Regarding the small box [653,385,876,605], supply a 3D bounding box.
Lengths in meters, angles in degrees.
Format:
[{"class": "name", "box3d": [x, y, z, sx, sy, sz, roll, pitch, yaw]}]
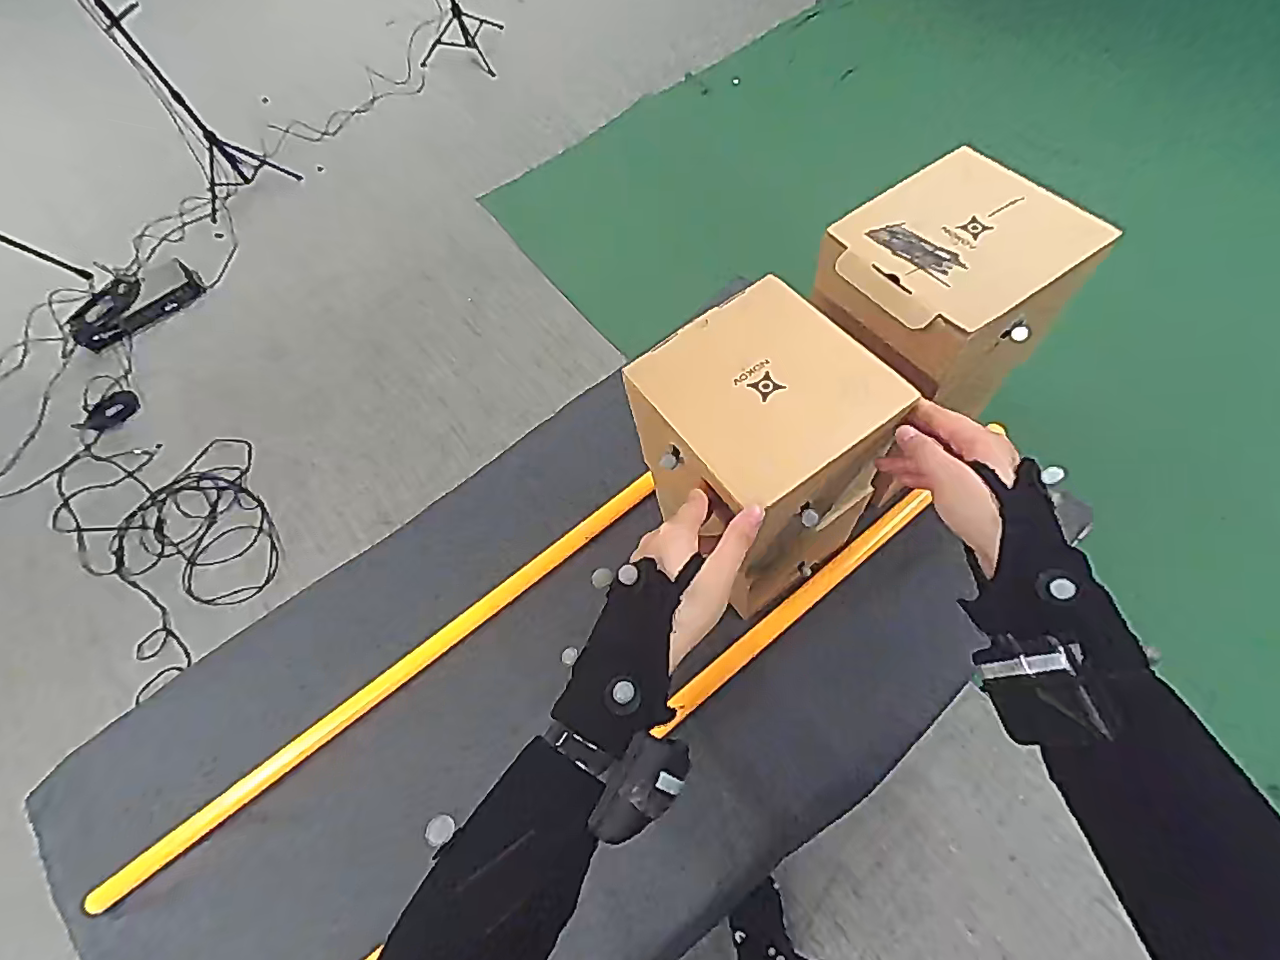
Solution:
[{"class": "small box", "box3d": [0.139, 0.030, 0.640, 0.168, 0.176, 0.179, -34, 64, -8]}]

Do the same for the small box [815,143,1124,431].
[{"class": "small box", "box3d": [0.294, -0.180, 0.535, 0.179, 0.176, 0.168, -33, 64, -8]}]
